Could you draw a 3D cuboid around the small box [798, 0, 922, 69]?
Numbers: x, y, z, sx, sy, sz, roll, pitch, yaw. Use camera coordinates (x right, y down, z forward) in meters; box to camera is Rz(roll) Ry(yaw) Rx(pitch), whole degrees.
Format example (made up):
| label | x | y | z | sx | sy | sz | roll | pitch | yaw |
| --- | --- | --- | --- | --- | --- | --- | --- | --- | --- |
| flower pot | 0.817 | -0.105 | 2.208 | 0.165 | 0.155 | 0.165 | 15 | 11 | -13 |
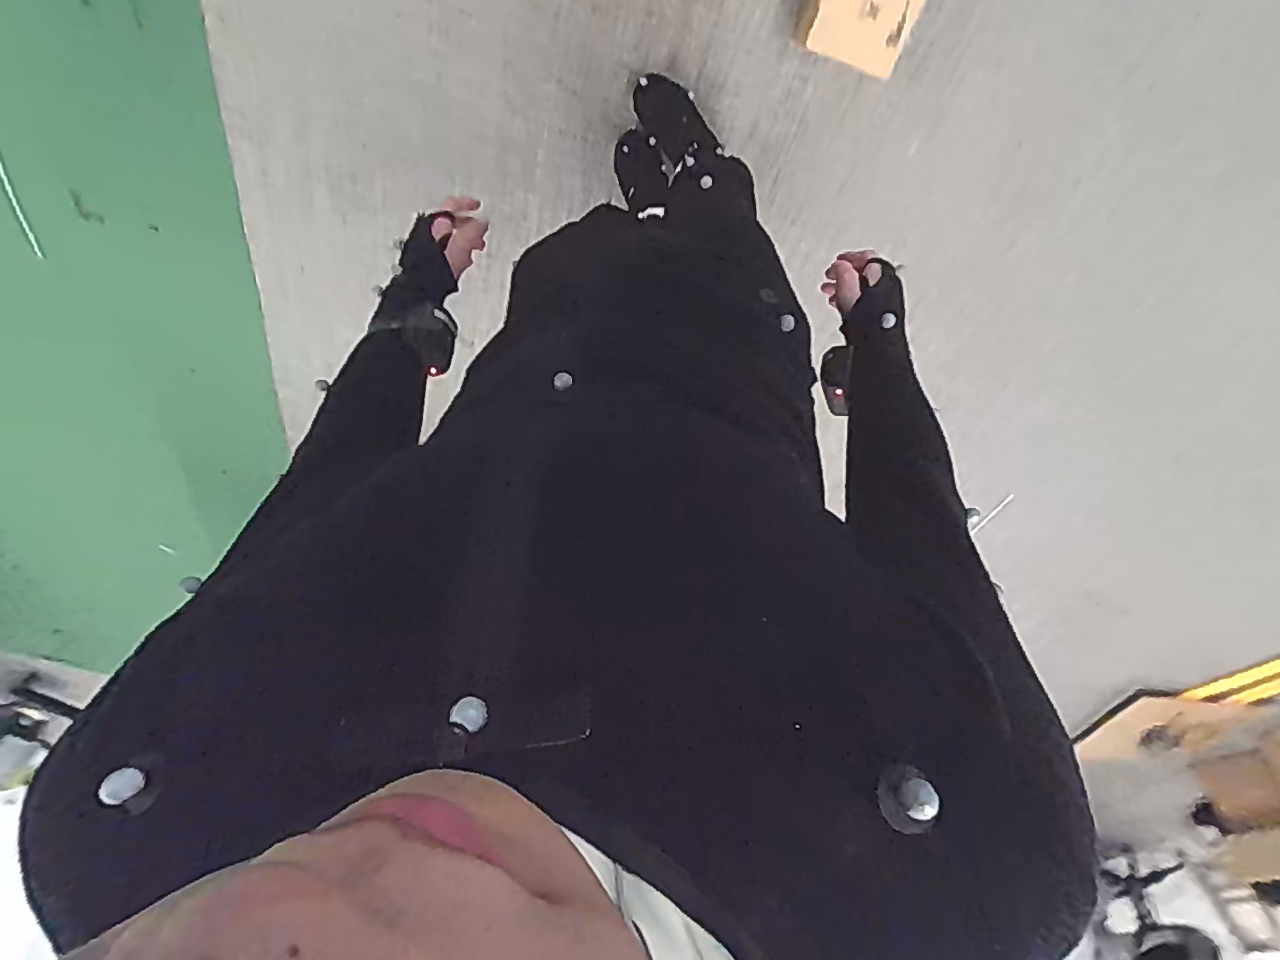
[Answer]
| label | x | y | z | sx | sy | sz | roll | pitch | yaw |
| --- | --- | --- | --- | --- | --- | --- | --- | --- | --- |
| small box | 0.411 | -0.895 | 1.003 | 0.179 | 0.176 | 0.168 | 16 | 132 | -6 |
